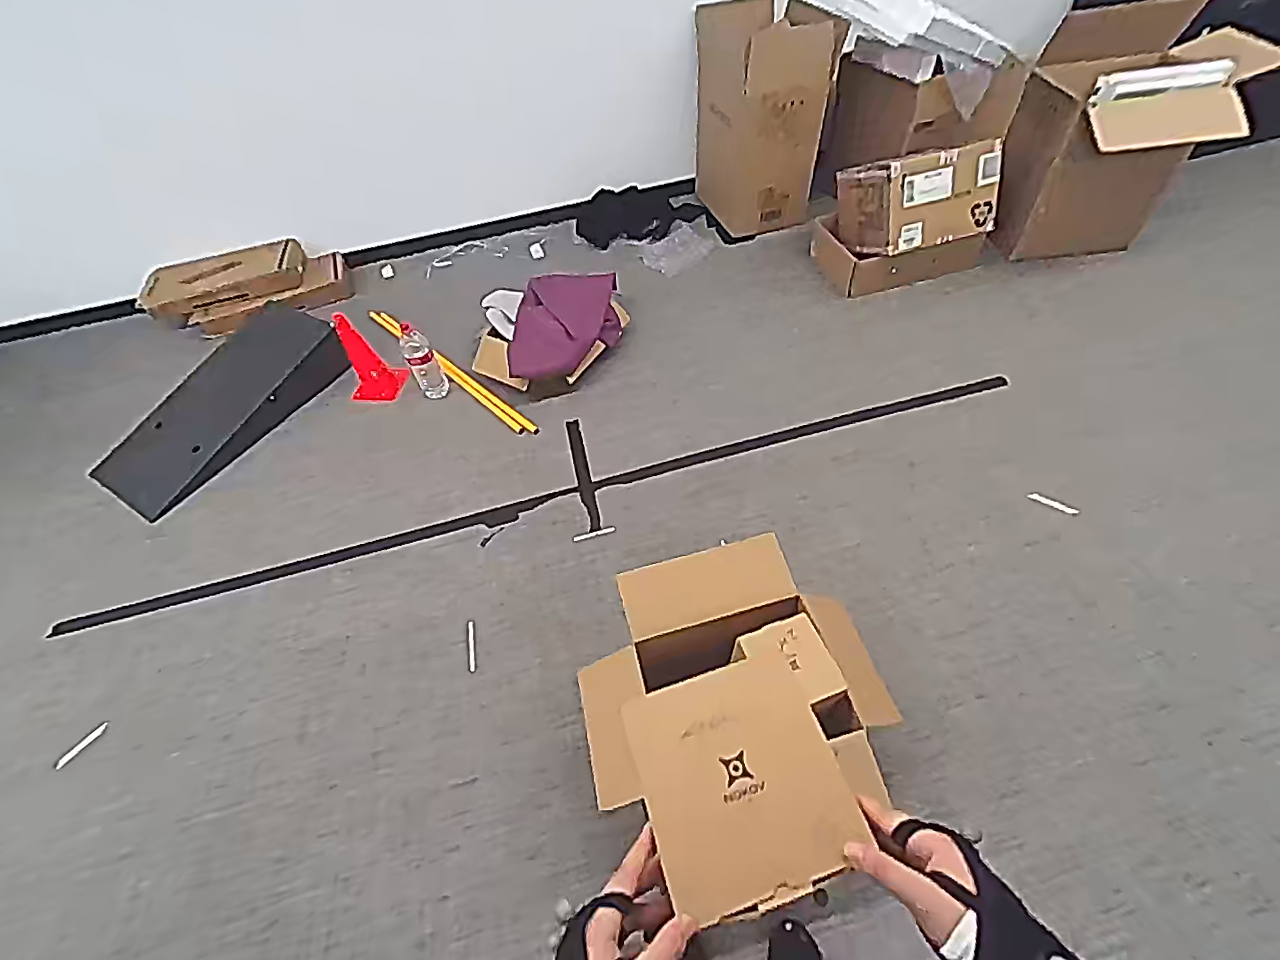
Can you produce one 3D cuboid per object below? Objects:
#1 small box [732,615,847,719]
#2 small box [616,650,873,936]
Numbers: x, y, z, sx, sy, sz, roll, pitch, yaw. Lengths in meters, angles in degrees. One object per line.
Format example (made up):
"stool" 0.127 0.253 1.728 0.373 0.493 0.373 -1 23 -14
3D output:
"small box" 0.312 0.426 1.169 0.168 0.176 0.179 -17 53 -11
"small box" 0.088 0.297 0.518 0.168 0.176 0.179 -17 51 -6
